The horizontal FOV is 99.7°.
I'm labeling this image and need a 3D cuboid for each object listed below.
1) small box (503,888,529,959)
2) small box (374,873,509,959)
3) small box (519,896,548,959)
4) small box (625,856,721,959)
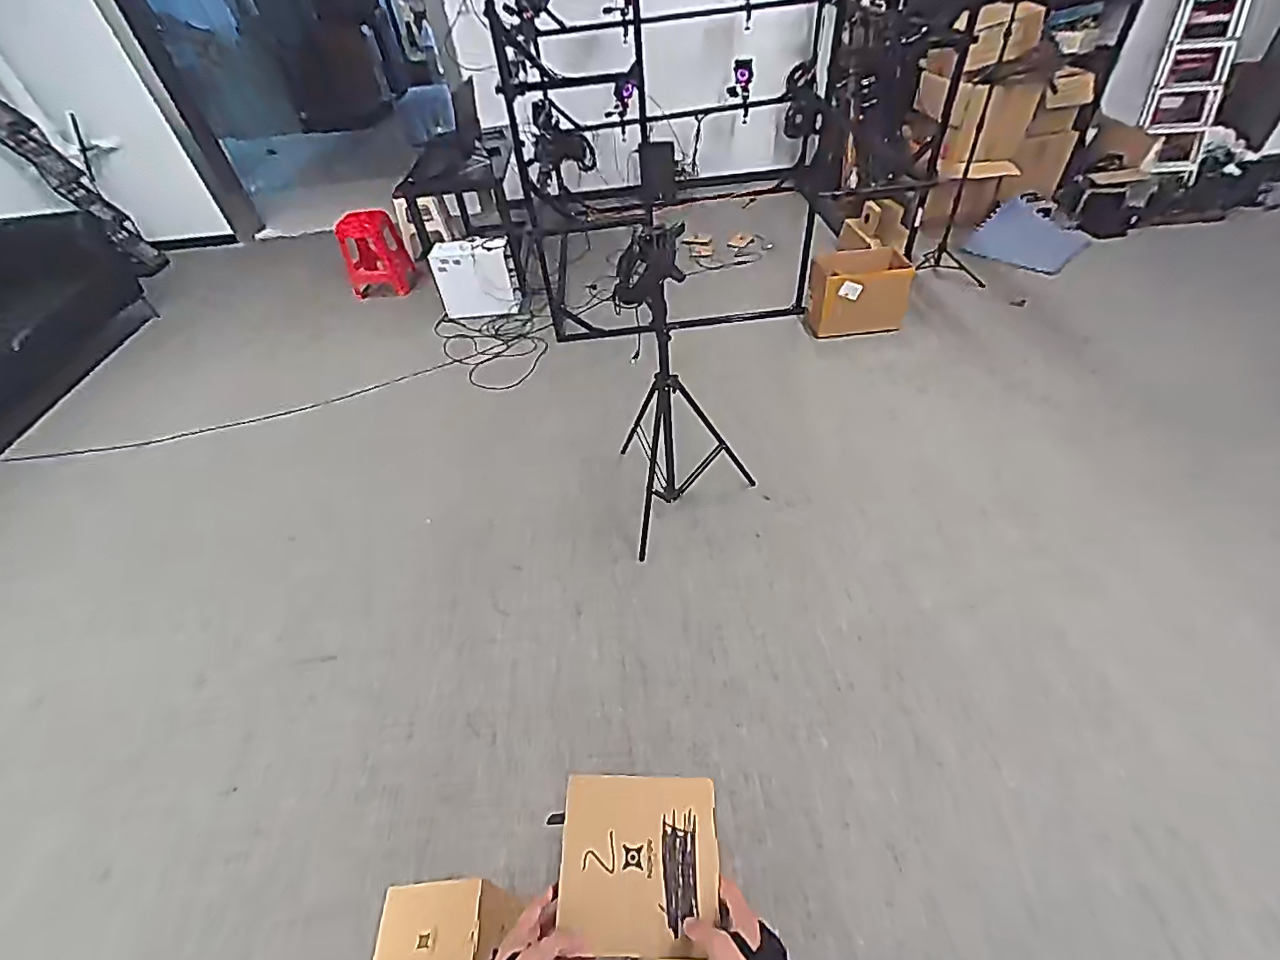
[{"bbox_3d":[-0.322,0.947,1.074,0.168,0.176,0.179,-10,46,-2],"label":"small box"},{"bbox_3d":[-0.349,0.826,0.967,0.179,0.176,0.168,-6,45,1],"label":"small box"},{"bbox_3d":[-0.300,1.057,1.194,0.168,0.176,0.179,-11,45,-4],"label":"small box"},{"bbox_3d":[0.062,0.879,1.094,0.179,0.176,0.168,-4,45,1],"label":"small box"}]
